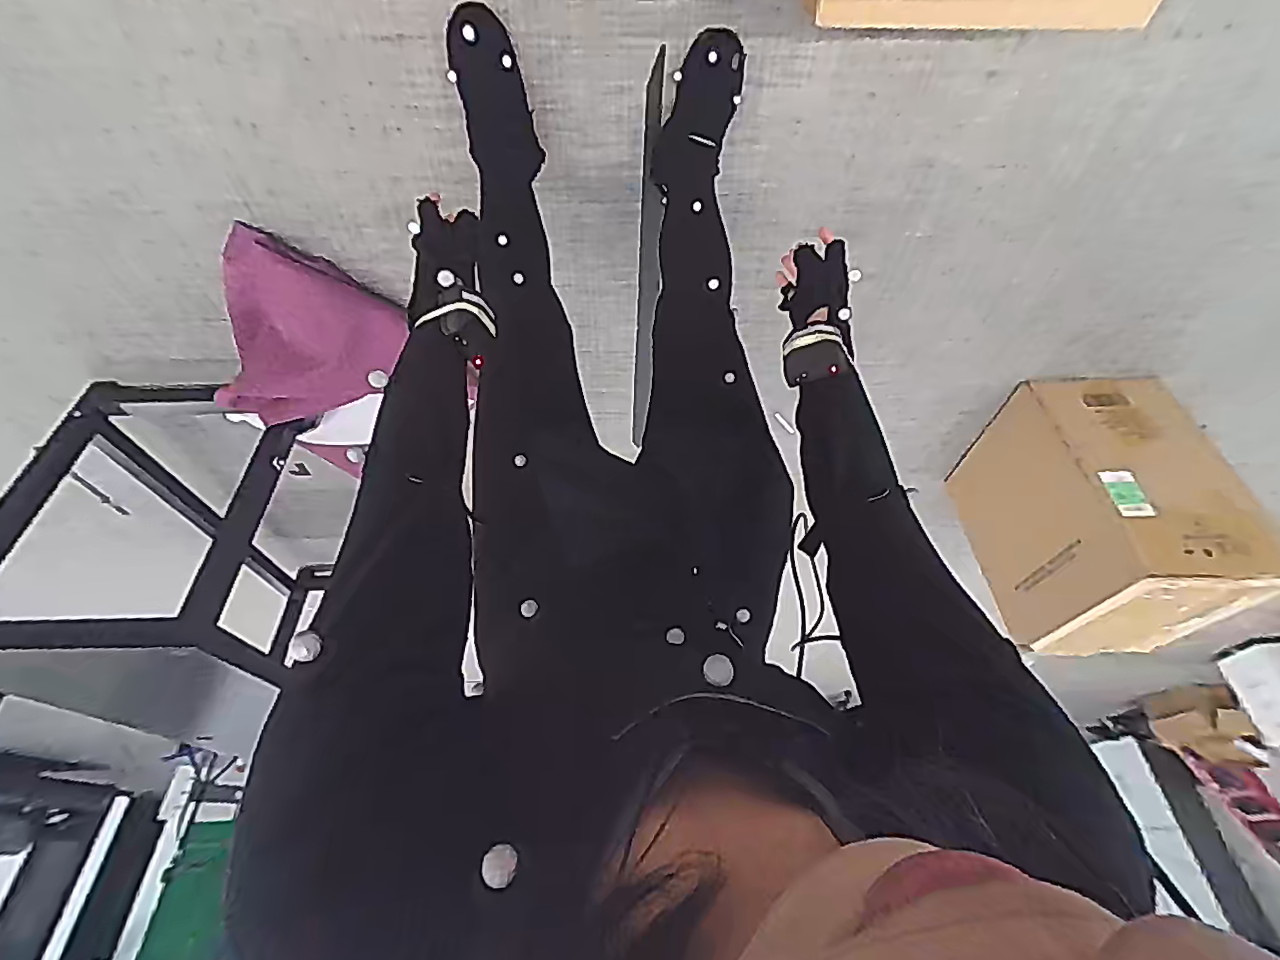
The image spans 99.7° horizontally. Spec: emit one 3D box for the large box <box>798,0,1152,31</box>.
[{"bbox_3d":[0.394,-0.752,0.609,0.408,0.320,0.320,-2,145,-2],"label":"large box"}]
